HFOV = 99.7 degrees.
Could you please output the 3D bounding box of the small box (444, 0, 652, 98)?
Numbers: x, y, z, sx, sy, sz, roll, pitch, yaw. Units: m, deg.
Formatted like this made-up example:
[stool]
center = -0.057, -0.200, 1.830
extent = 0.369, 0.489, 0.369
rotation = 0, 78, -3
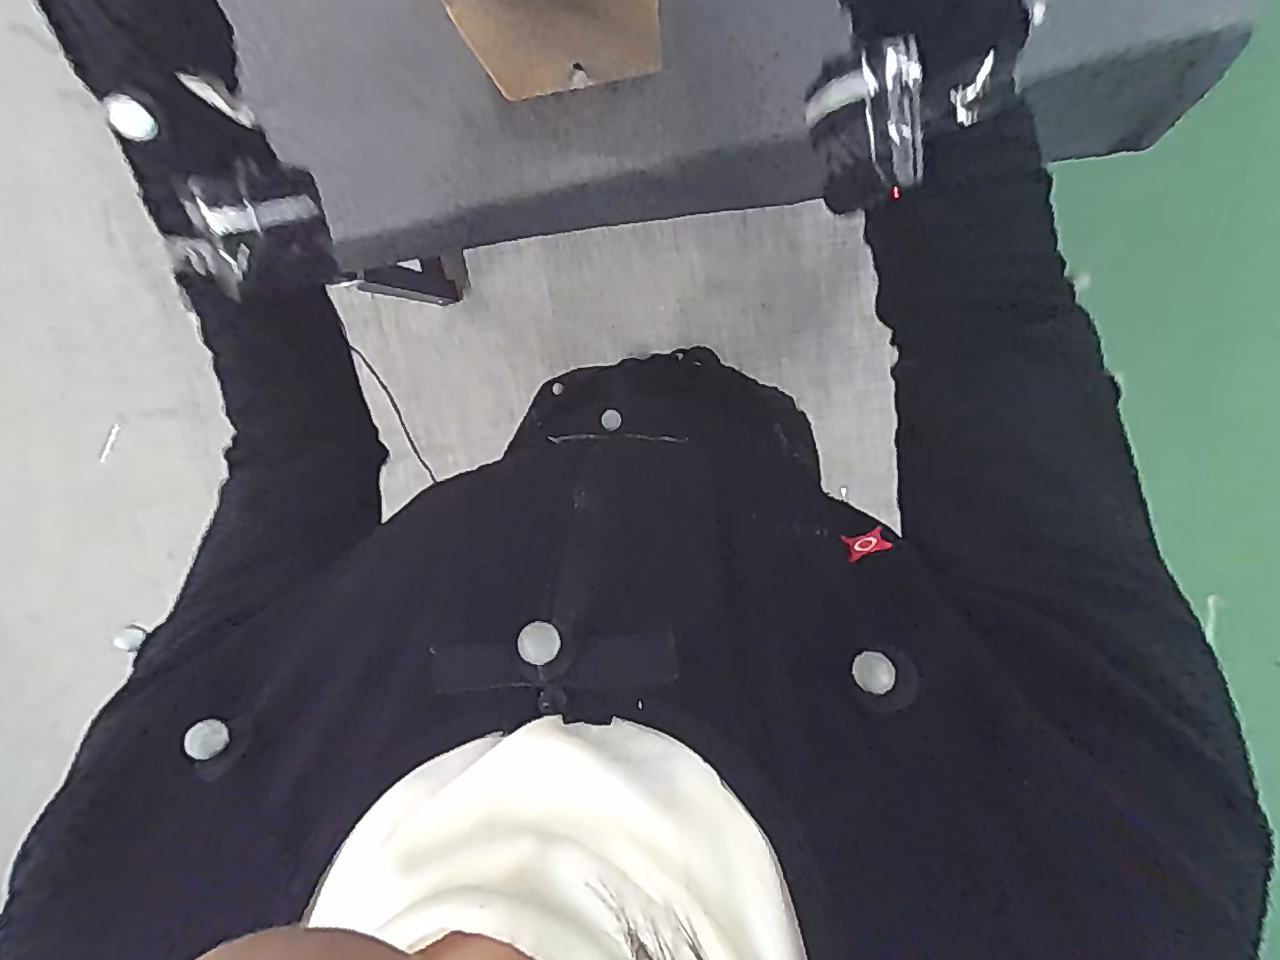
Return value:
[small box]
center = -0.083, -0.496, 0.503
extent = 0.179, 0.176, 0.168
rotation = -8, 102, 5
